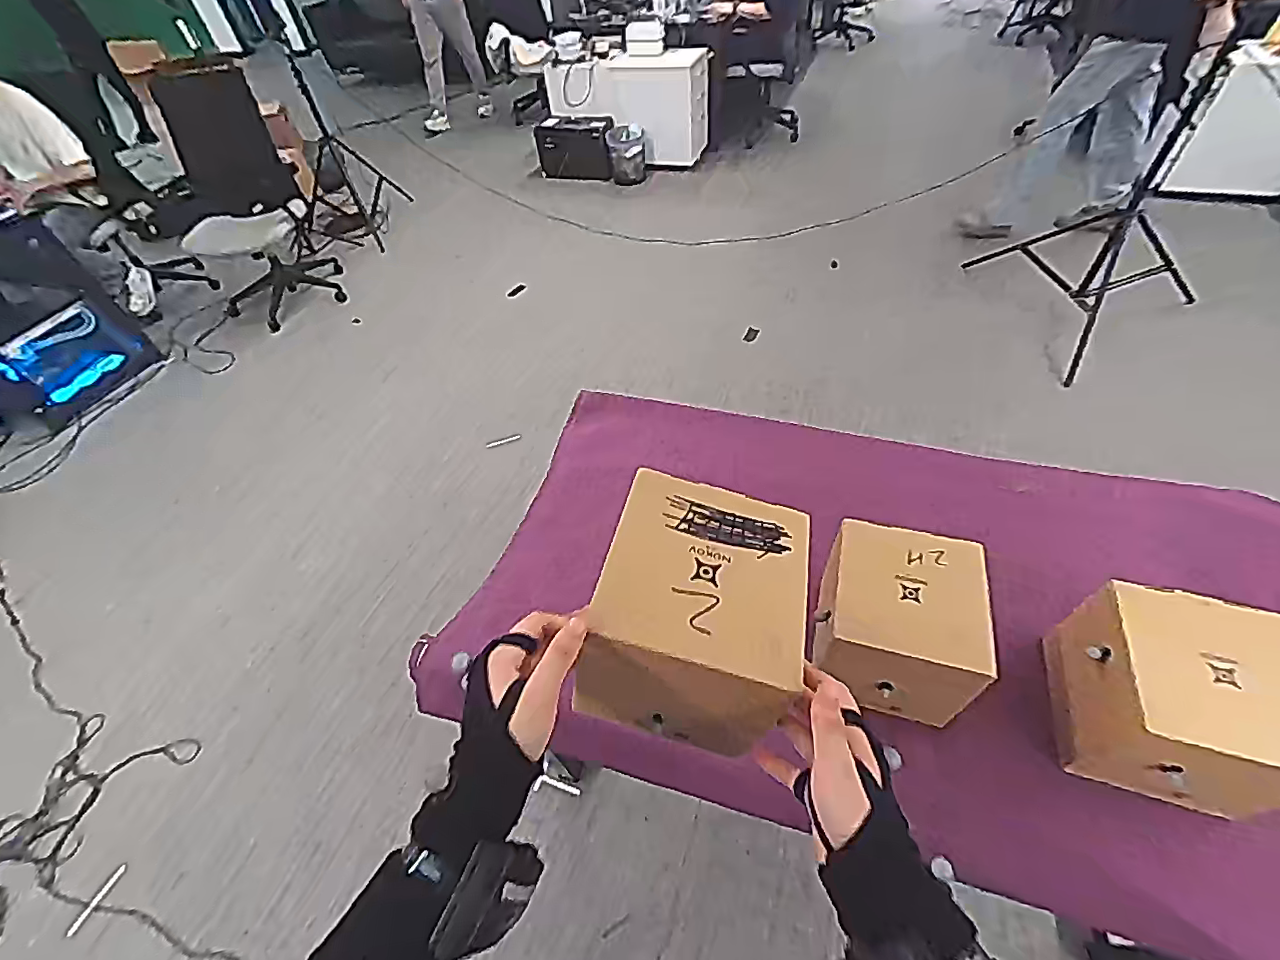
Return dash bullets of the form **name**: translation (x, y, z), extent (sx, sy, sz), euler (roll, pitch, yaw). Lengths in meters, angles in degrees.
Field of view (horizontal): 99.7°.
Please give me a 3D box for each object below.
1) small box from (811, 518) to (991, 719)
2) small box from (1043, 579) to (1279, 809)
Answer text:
- **small box**: translation (0.323, 0.180, 0.697), extent (0.168, 0.176, 0.179), euler (11, 50, 14)
- **small box**: translation (0.595, 0.244, 0.613), extent (0.168, 0.176, 0.179), euler (11, 51, 16)
